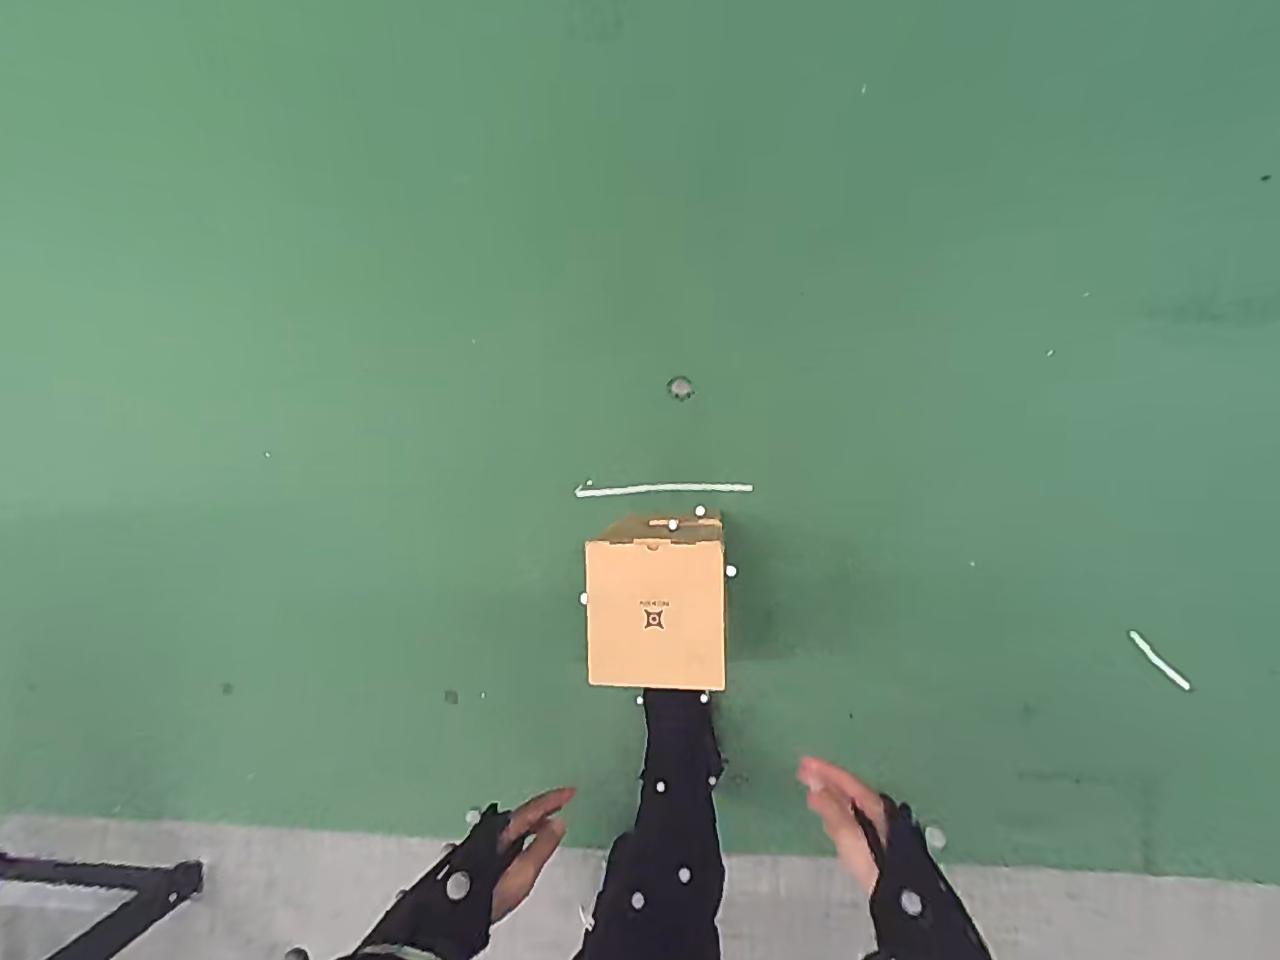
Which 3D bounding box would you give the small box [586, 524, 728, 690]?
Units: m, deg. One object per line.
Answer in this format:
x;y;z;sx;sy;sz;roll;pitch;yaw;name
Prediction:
0.031;0.154;0.711;0.168;0.176;0.179;-1;91;9;small box
